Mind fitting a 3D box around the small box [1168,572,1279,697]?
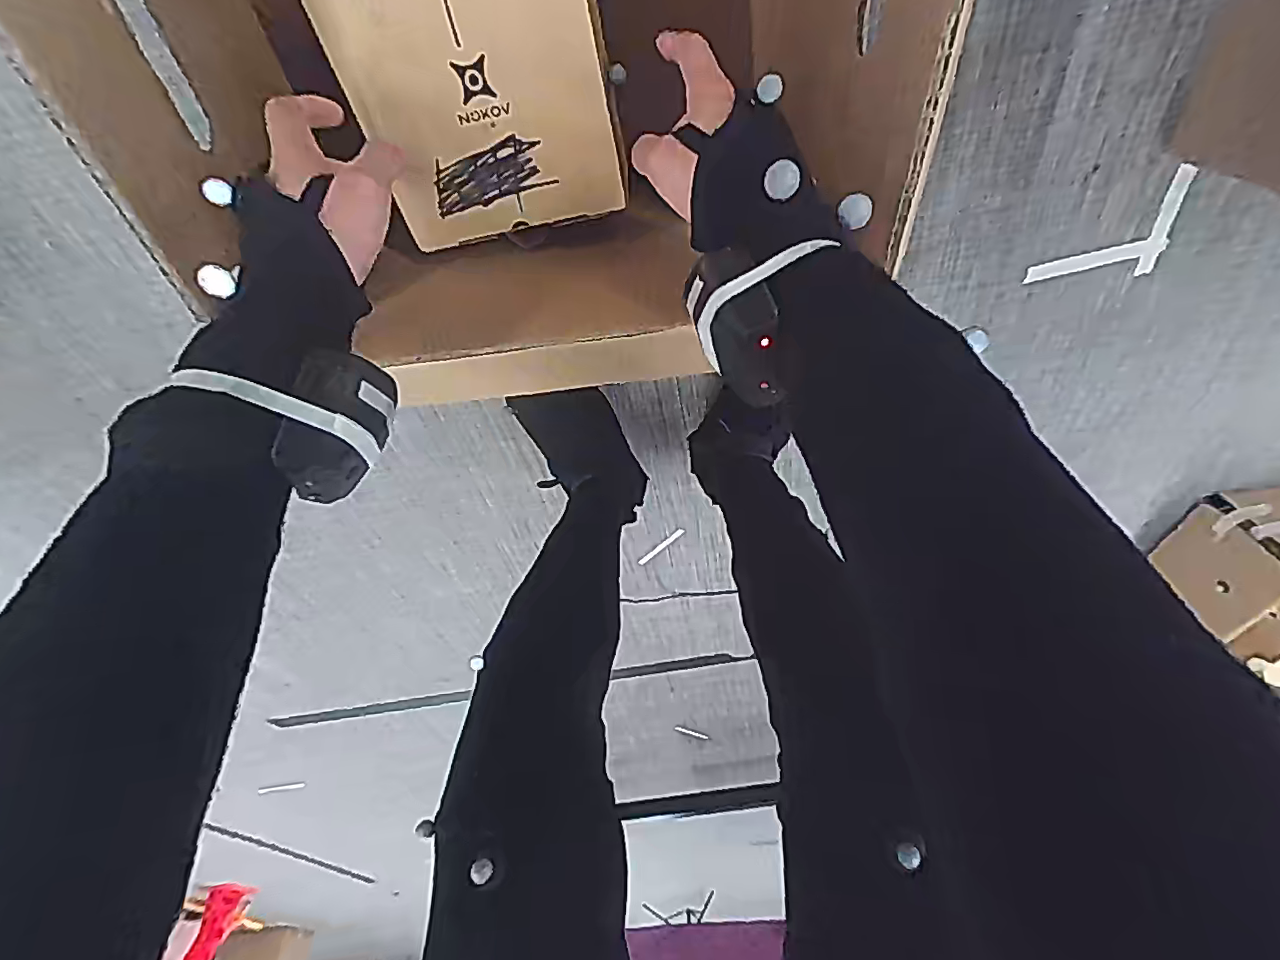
[{"bbox_3d":[1.200,0.295,1.044,0.179,0.176,0.168,-9,135,4],"label":"small box"}]
